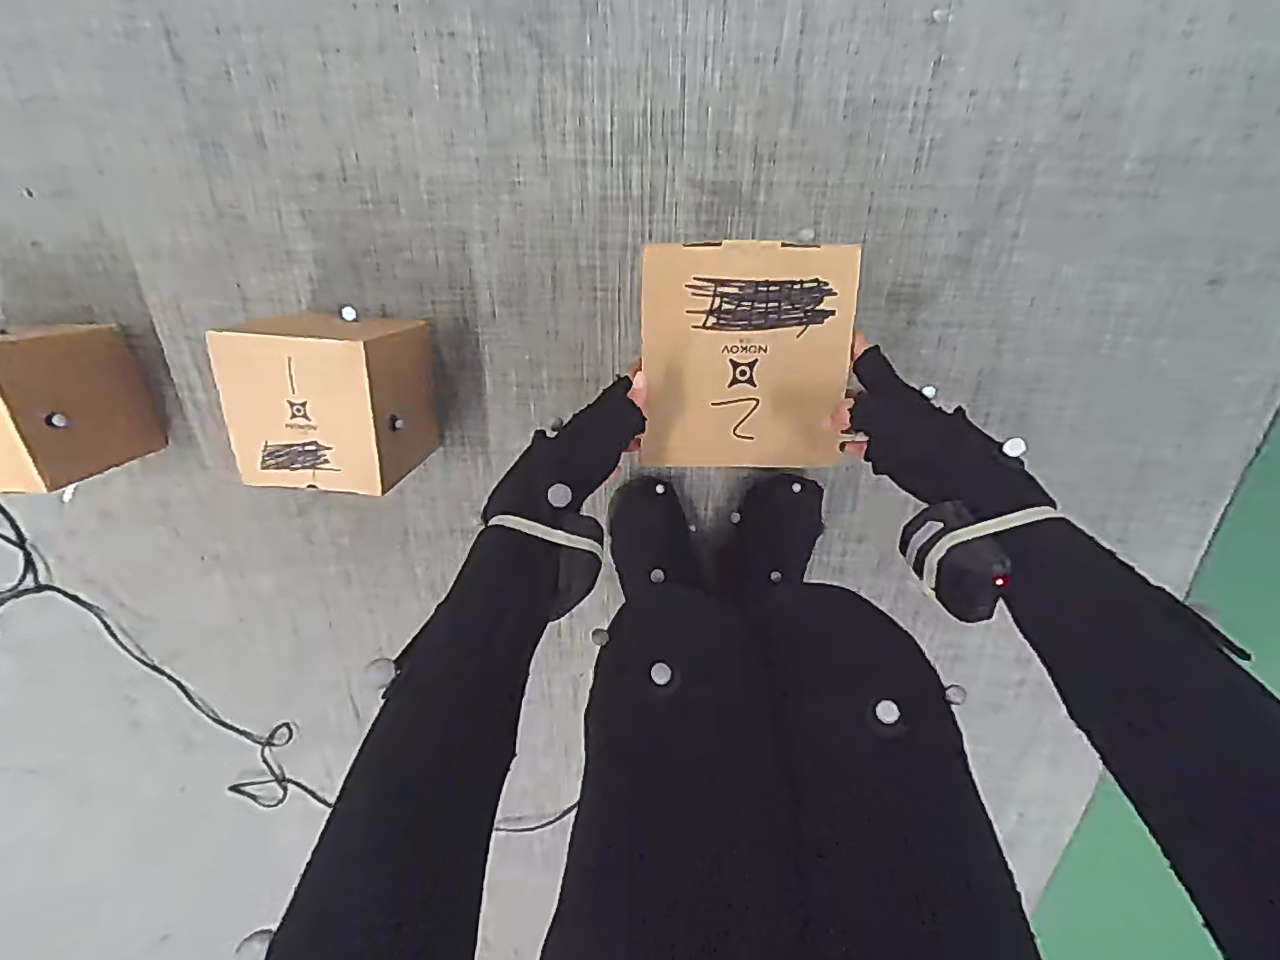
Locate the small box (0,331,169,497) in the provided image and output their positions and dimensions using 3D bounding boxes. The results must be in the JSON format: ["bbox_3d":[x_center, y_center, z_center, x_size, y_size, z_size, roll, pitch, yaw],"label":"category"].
[{"bbox_3d":[-0.765,-0.092,0.683,0.168,0.176,0.179,0,114,3],"label":"small box"}]

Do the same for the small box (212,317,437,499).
[{"bbox_3d":[-0.362,-0.095,0.662,0.168,0.176,0.179,5,113,1],"label":"small box"}]
